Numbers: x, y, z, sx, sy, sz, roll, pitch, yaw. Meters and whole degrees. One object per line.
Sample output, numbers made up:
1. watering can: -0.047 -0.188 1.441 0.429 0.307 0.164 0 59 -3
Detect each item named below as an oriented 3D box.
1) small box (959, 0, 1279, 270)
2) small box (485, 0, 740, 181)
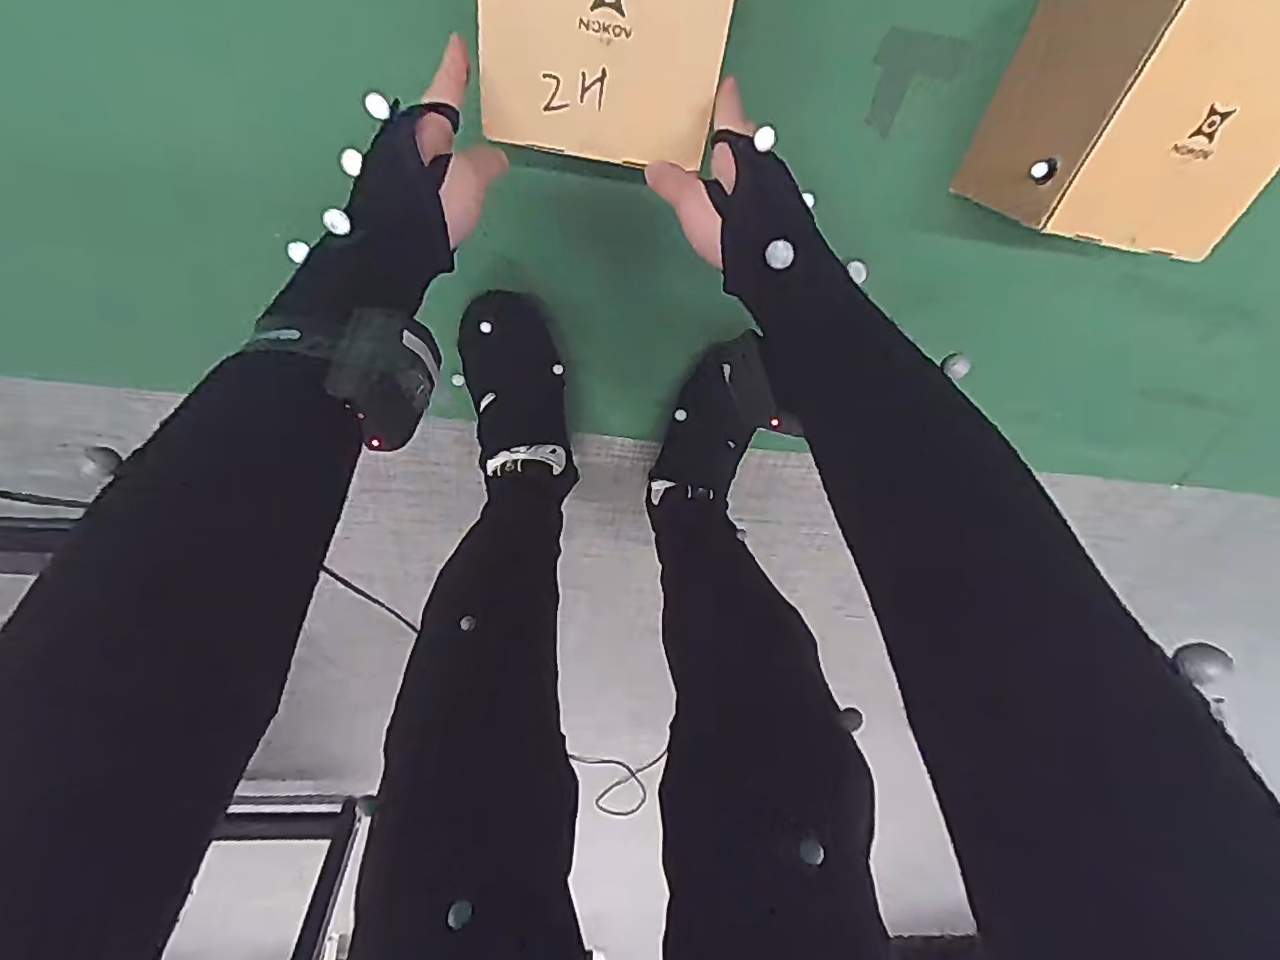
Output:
1. small box: 0.429 -0.313 0.479 0.168 0.176 0.179 6 130 -9
2. small box: -0.022 -0.358 0.416 0.168 0.176 0.179 6 129 -8
